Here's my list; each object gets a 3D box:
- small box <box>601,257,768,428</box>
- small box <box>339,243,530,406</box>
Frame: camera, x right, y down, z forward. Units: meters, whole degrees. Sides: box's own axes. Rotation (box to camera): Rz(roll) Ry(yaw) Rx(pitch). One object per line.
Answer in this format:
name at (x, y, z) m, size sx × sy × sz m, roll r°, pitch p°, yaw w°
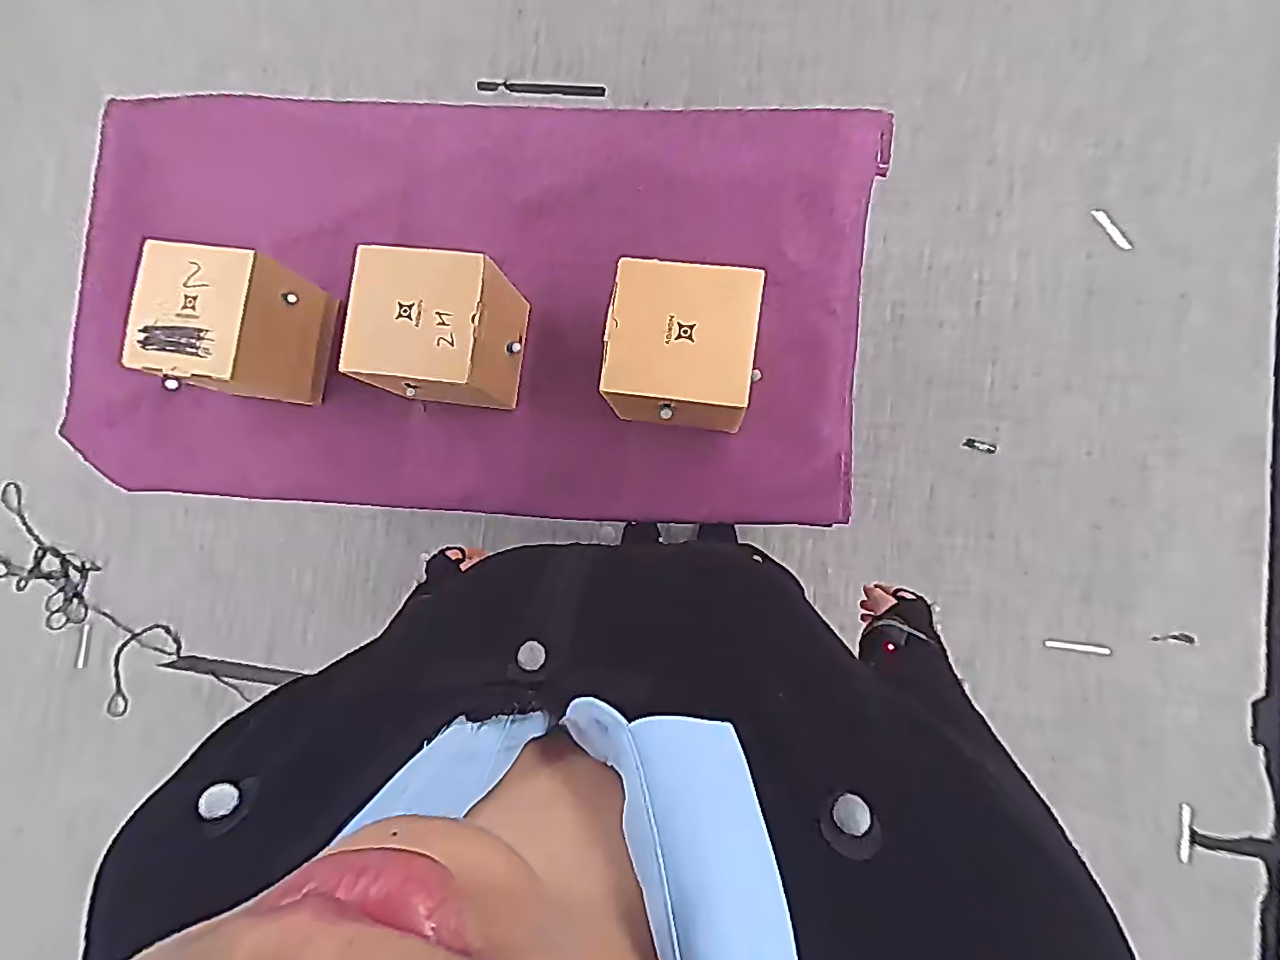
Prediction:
small box at (0.060, -0.167, 0.706) m, size 0.179 × 0.176 × 0.168 m, roll 8°, pitch 86°, yaw 8°
small box at (-0.271, -0.204, 0.747) m, size 0.179 × 0.176 × 0.168 m, roll 7°, pitch 88°, yaw 7°
